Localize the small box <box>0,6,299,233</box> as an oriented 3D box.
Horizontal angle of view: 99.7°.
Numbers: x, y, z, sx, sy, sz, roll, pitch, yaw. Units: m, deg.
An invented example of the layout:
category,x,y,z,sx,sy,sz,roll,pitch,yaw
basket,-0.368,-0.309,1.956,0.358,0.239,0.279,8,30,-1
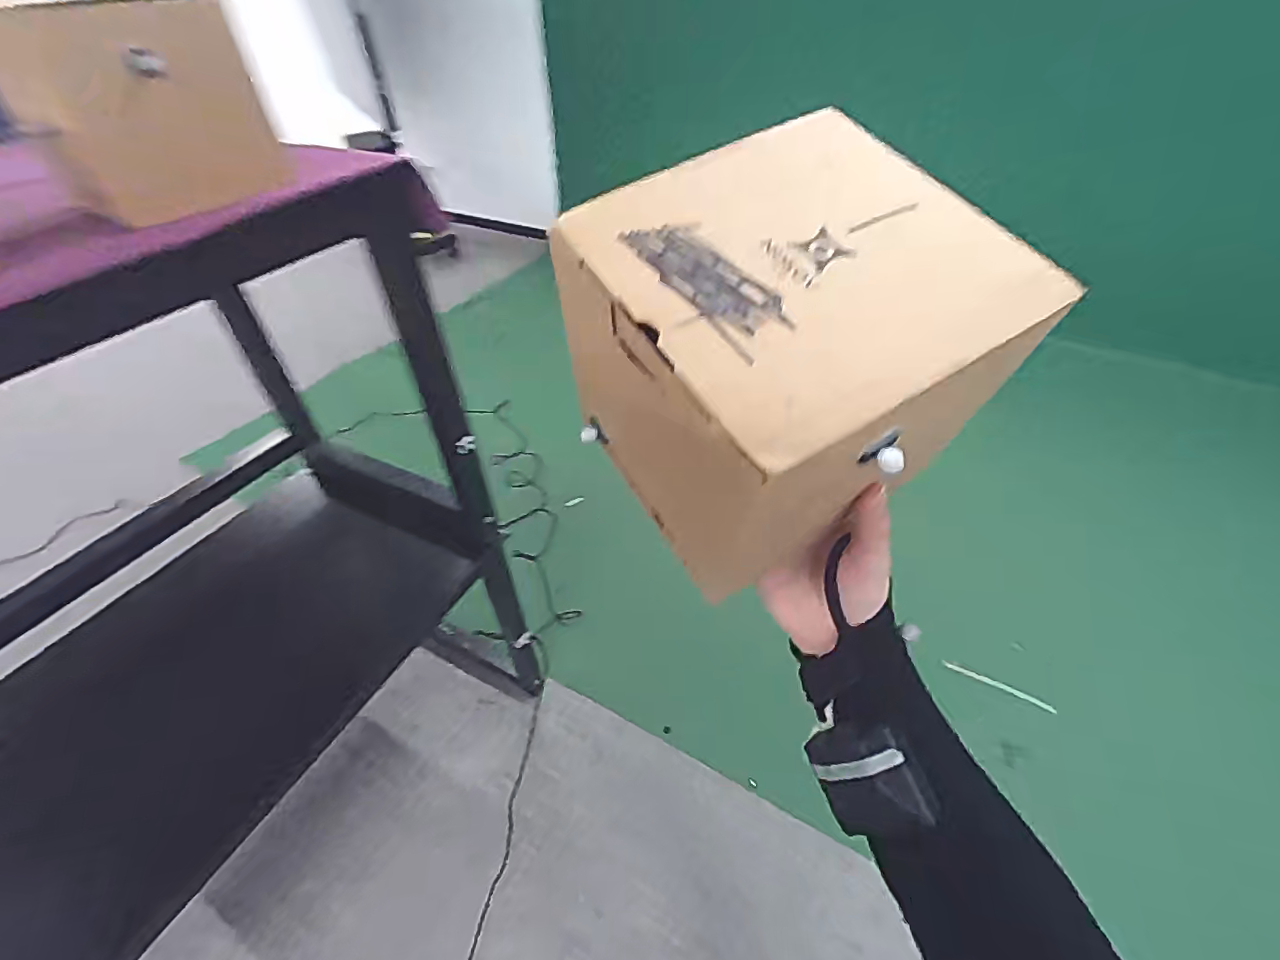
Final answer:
category,x,y,z,sx,sy,sz,roll,pitch,yaw
small box,-0.508,-0.376,0.562,0.168,0.176,0.179,23,49,22
